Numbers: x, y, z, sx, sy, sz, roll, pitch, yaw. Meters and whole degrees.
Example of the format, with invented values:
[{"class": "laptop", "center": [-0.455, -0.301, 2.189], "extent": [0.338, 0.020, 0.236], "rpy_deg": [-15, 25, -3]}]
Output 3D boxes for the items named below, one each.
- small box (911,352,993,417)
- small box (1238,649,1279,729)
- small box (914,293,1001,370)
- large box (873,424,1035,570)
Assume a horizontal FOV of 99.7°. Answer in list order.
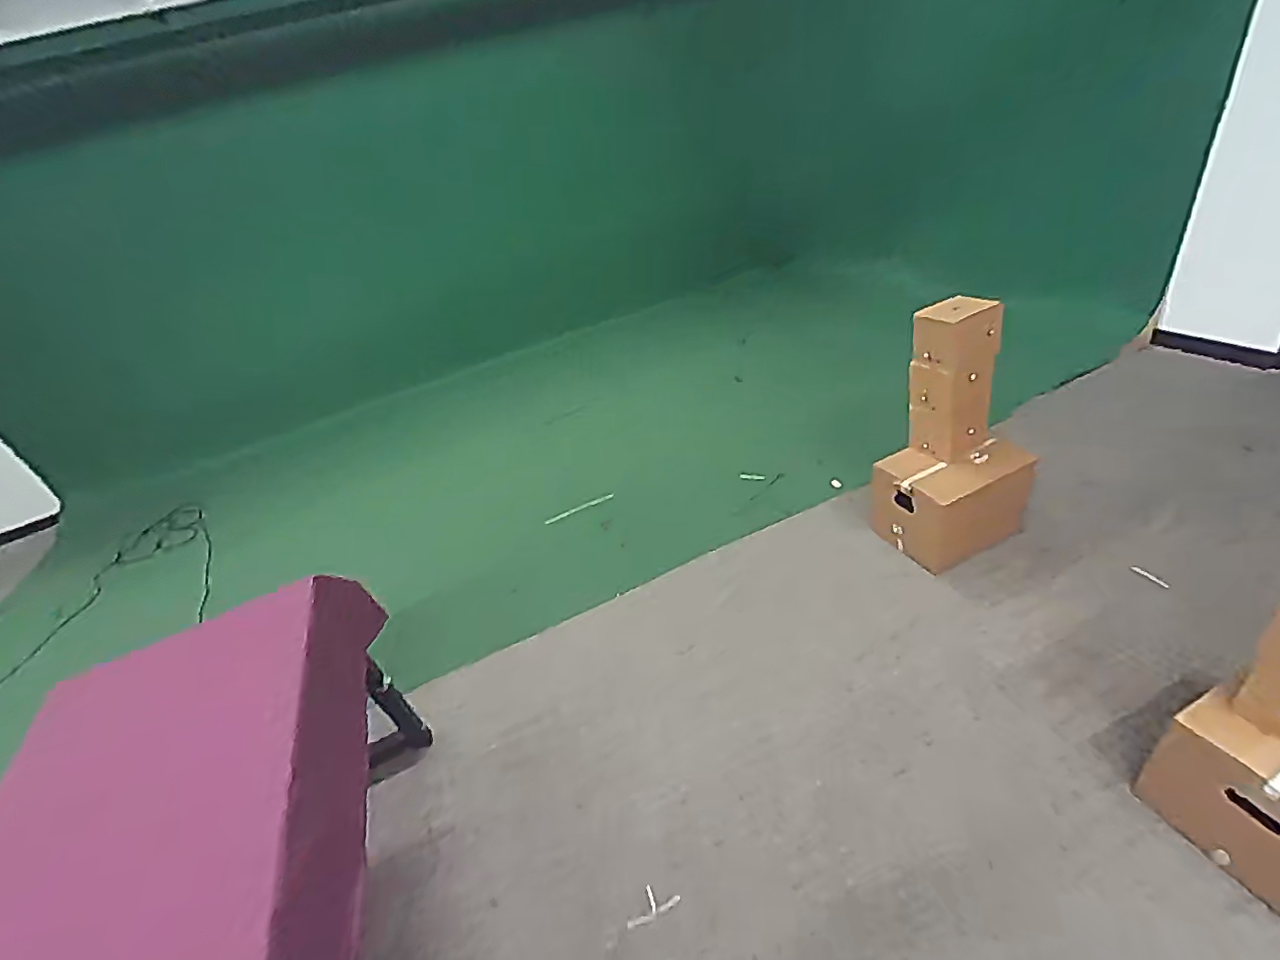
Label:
[{"class": "small box", "center": [1.025, -0.334, 1.789], "extent": [0.179, 0.176, 0.168], "rpy_deg": [-25, 32, -11]}, {"class": "small box", "center": [1.251, 0.375, 0.978], "extent": [0.179, 0.176, 0.168], "rpy_deg": [-26, 34, -14]}, {"class": "small box", "center": [0.992, -0.469, 1.702], "extent": [0.179, 0.176, 0.168], "rpy_deg": [-24, 31, -9]}, {"class": "large box", "center": [1.101, 0.053, 1.933], "extent": [0.408, 0.320, 0.320], "rpy_deg": [-23, 34, -12]}]
